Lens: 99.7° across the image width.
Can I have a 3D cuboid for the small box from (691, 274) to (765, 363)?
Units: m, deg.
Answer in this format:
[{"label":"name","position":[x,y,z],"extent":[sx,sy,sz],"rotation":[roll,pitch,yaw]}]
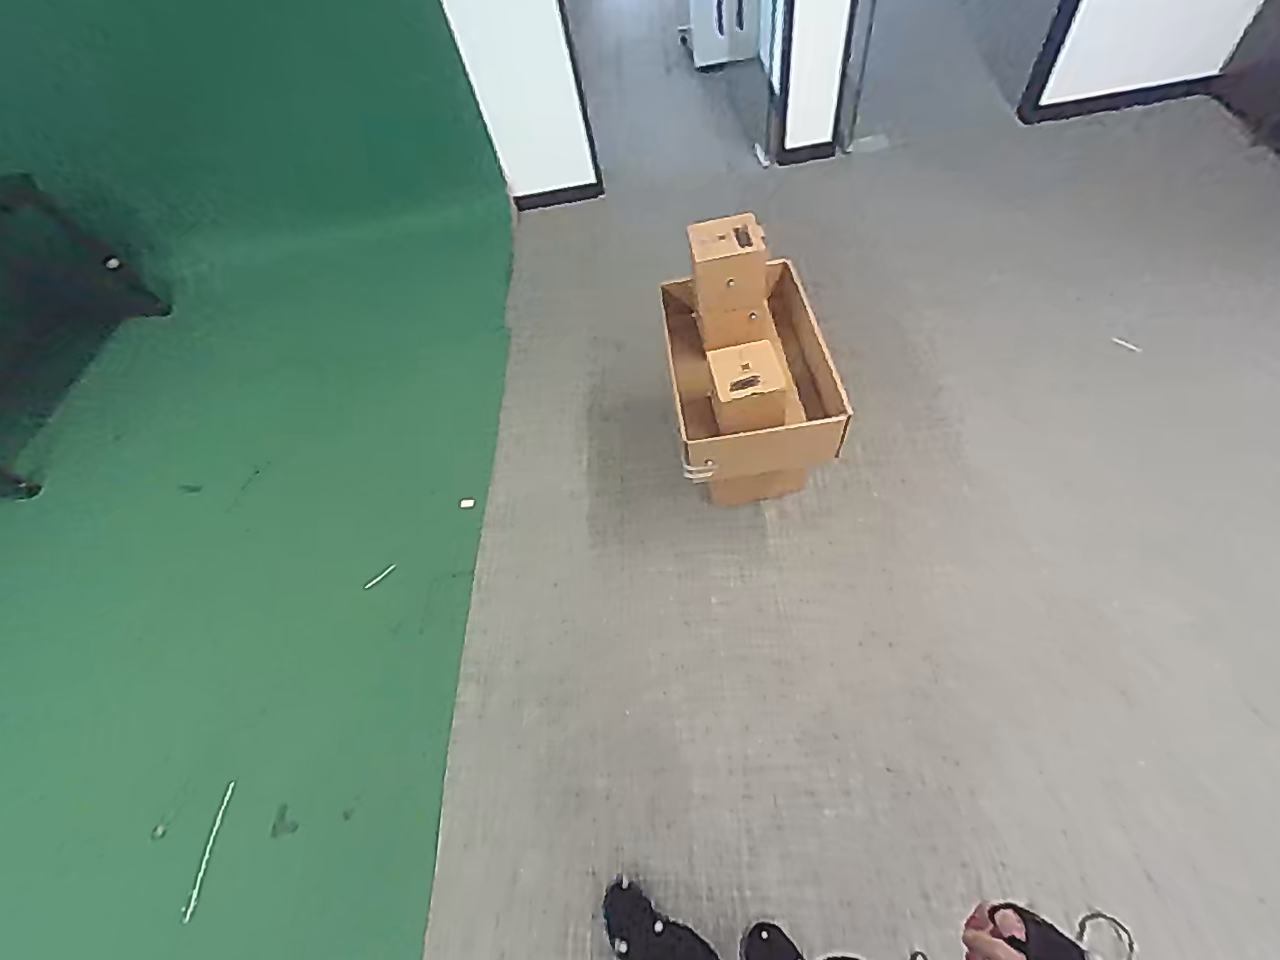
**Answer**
[{"label":"small box","position":[0.255,-0.461,1.563],"extent":[0.179,0.176,0.168],"rotation":[-12,55,2]}]
